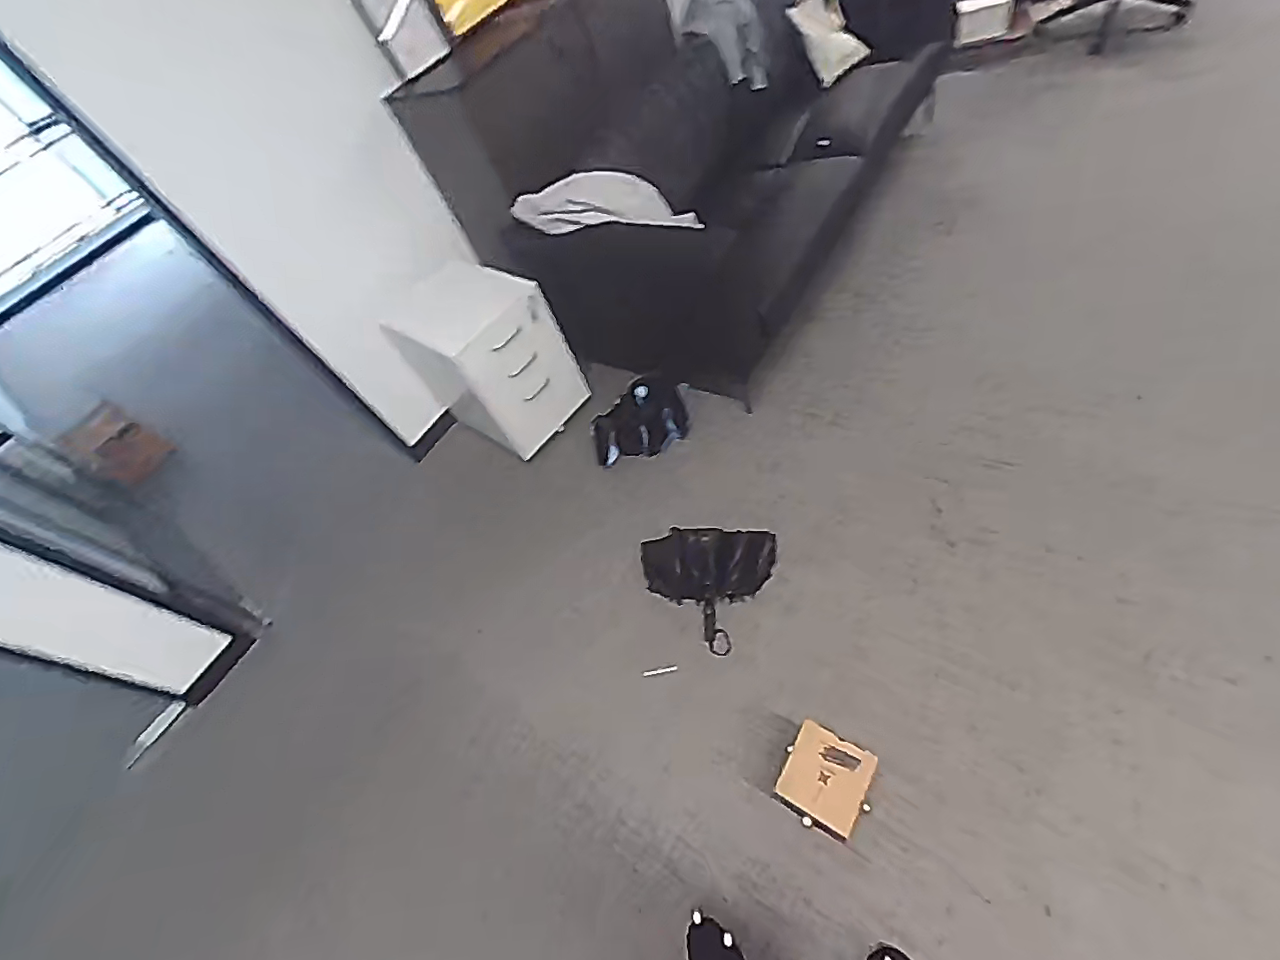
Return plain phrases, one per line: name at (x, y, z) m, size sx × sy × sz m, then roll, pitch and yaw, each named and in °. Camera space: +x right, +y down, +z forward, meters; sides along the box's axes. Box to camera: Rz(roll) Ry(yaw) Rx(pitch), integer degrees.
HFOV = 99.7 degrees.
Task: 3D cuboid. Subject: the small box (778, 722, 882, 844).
small box at (0.435, 0.694, 1.236) m, size 0.168 × 0.176 × 0.179 m, roll 21°, pitch 66°, yaw 33°
